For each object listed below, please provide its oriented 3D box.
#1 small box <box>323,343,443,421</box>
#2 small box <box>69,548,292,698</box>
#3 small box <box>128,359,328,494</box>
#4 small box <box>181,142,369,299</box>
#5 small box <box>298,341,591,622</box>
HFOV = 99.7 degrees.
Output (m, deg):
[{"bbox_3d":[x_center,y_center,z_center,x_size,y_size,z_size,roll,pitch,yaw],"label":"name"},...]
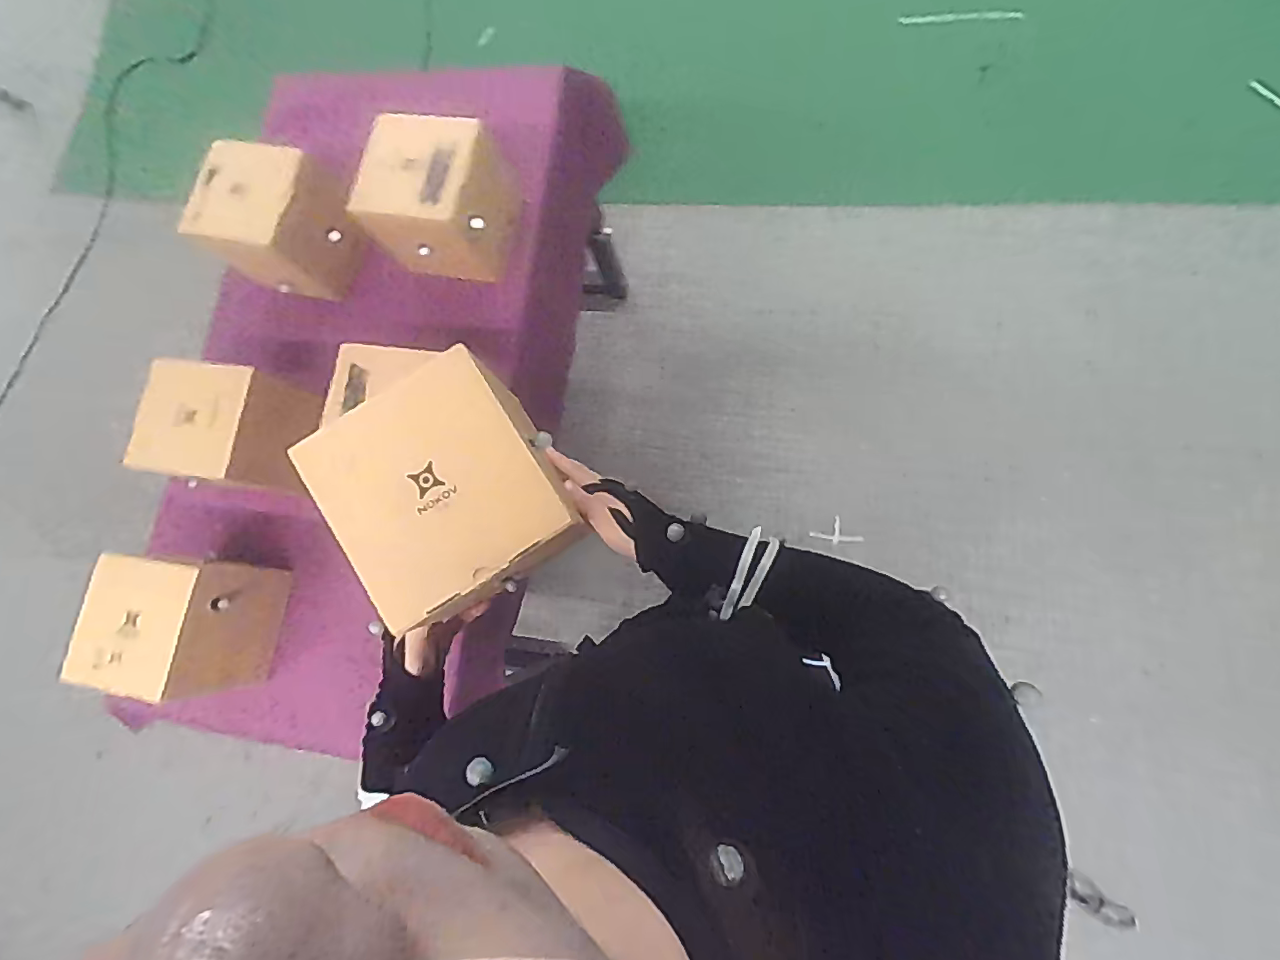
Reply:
[{"bbox_3d":[-0.330,-0.087,0.803,0.179,0.176,0.168,8,81,11],"label":"small box"},{"bbox_3d":[-0.663,0.205,0.804,0.168,0.176,0.179,7,80,11],"label":"small box"},{"bbox_3d":[-0.631,-0.077,0.855,0.179,0.176,0.168,7,81,10],"label":"small box"},{"bbox_3d":[-0.600,-0.427,0.913,0.179,0.176,0.168,13,81,11],"label":"small box"},{"bbox_3d":[-0.163,0.007,0.508,0.168,0.176,0.179,-31,84,-2],"label":"small box"}]
